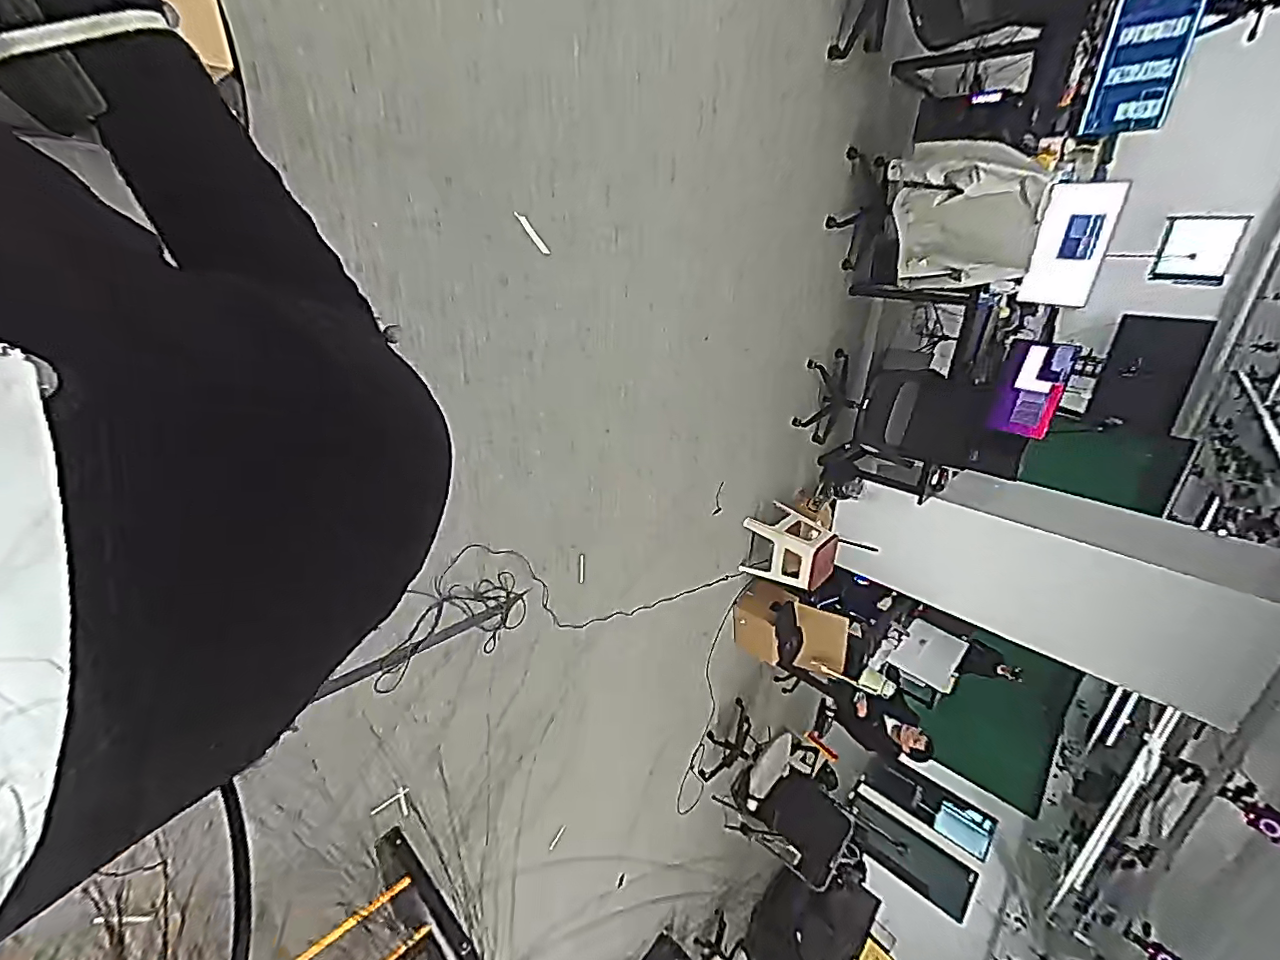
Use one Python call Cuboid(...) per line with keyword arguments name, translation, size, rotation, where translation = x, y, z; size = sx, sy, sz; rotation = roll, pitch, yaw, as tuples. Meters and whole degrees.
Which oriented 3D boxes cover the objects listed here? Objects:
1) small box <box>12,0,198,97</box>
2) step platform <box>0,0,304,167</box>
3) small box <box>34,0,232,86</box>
Cuboid(name="small box", translation=(-0.780, -0.668, 0.777), size=(0.168, 0.176, 0.179), rotation=(-23, 125, -41))
Cuboid(name="step platform", translation=(-0.846, -0.586, 0.683), size=(0.684, 0.204, 0.286), rotation=(-23, 124, -42))
Cuboid(name="small box", translation=(-0.655, -0.624, 0.679), size=(0.168, 0.176, 0.179), rotation=(-24, 125, -40))
